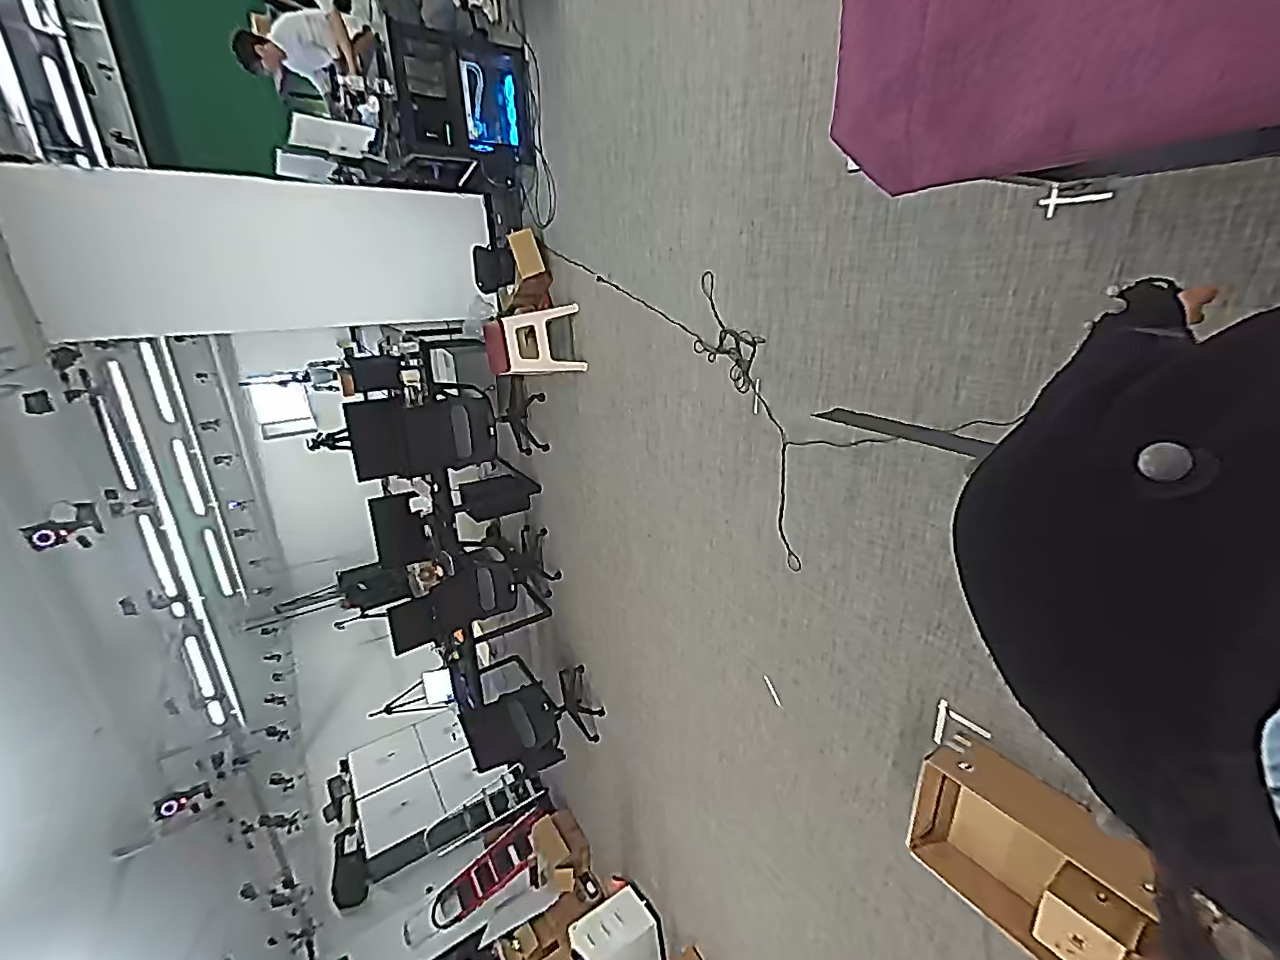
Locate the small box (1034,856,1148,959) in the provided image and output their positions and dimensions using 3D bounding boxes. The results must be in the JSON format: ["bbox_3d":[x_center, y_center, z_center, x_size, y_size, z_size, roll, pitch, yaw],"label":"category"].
[{"bbox_3d":[1.142,1.113,1.369,0.168,0.176,0.179,24,123,54],"label":"small box"}]
